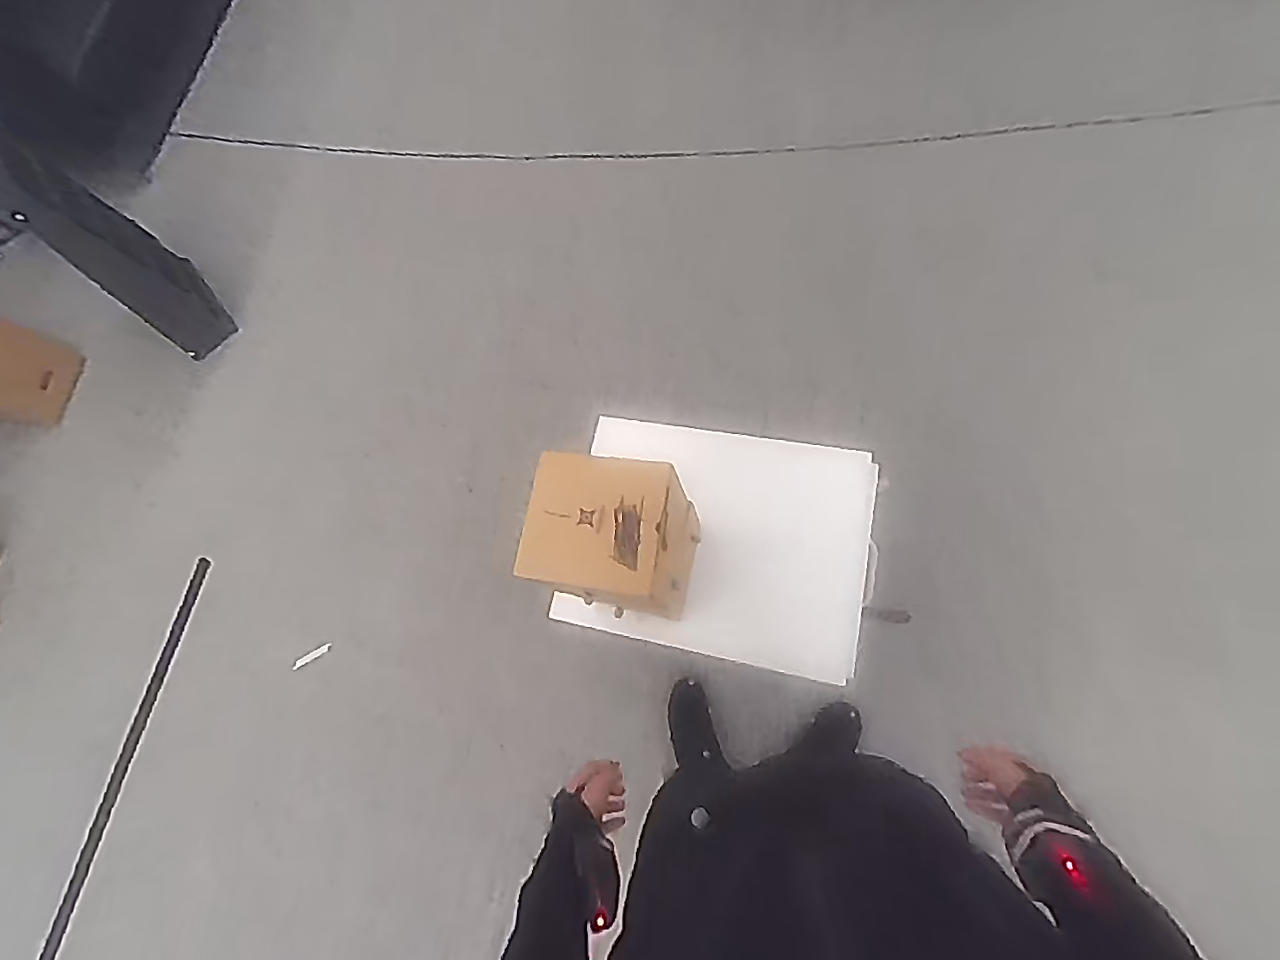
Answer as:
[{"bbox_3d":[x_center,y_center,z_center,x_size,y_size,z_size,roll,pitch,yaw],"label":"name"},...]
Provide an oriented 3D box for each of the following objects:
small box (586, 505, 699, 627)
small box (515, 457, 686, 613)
[{"bbox_3d":[-0.002,0.131,0.879,0.168,0.176,0.179,10,74,14],"label":"small box"},{"bbox_3d":[-0.039,0.080,0.727,0.179,0.176,0.168,6,72,15],"label":"small box"}]
